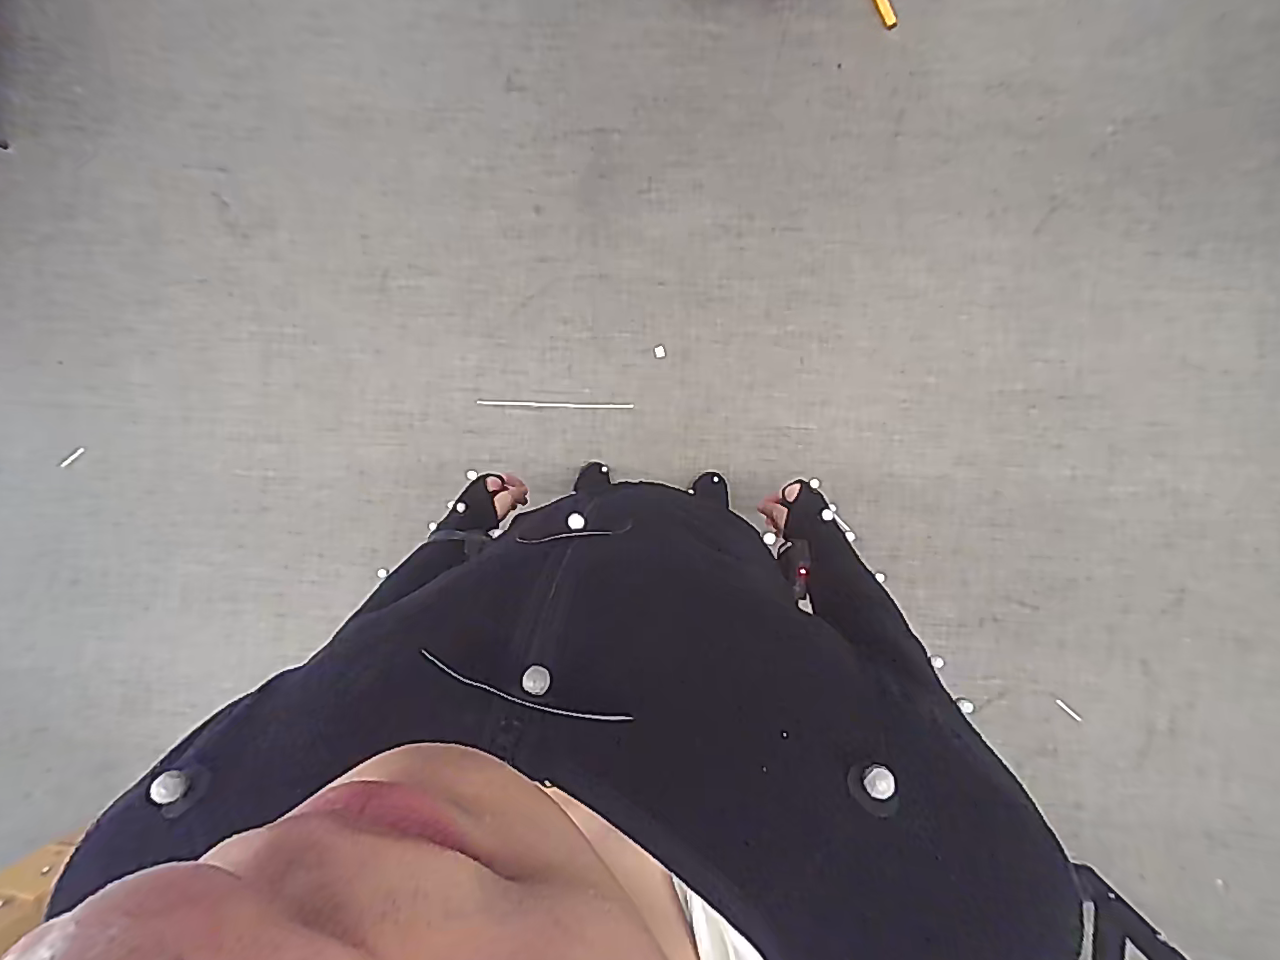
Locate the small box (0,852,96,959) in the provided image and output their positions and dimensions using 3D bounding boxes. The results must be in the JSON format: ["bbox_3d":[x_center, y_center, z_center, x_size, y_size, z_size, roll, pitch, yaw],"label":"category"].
[{"bbox_3d":[-1.661,1.169,1.485,0.168,0.176,0.179,8,92,3],"label":"small box"}]

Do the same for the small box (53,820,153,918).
[{"bbox_3d":[-1.646,1.176,1.647,0.179,0.176,0.168,10,91,1],"label":"small box"}]

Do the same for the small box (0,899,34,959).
[{"bbox_3d":[-1.658,1.178,1.322,0.168,0.176,0.179,12,92,1],"label":"small box"}]
